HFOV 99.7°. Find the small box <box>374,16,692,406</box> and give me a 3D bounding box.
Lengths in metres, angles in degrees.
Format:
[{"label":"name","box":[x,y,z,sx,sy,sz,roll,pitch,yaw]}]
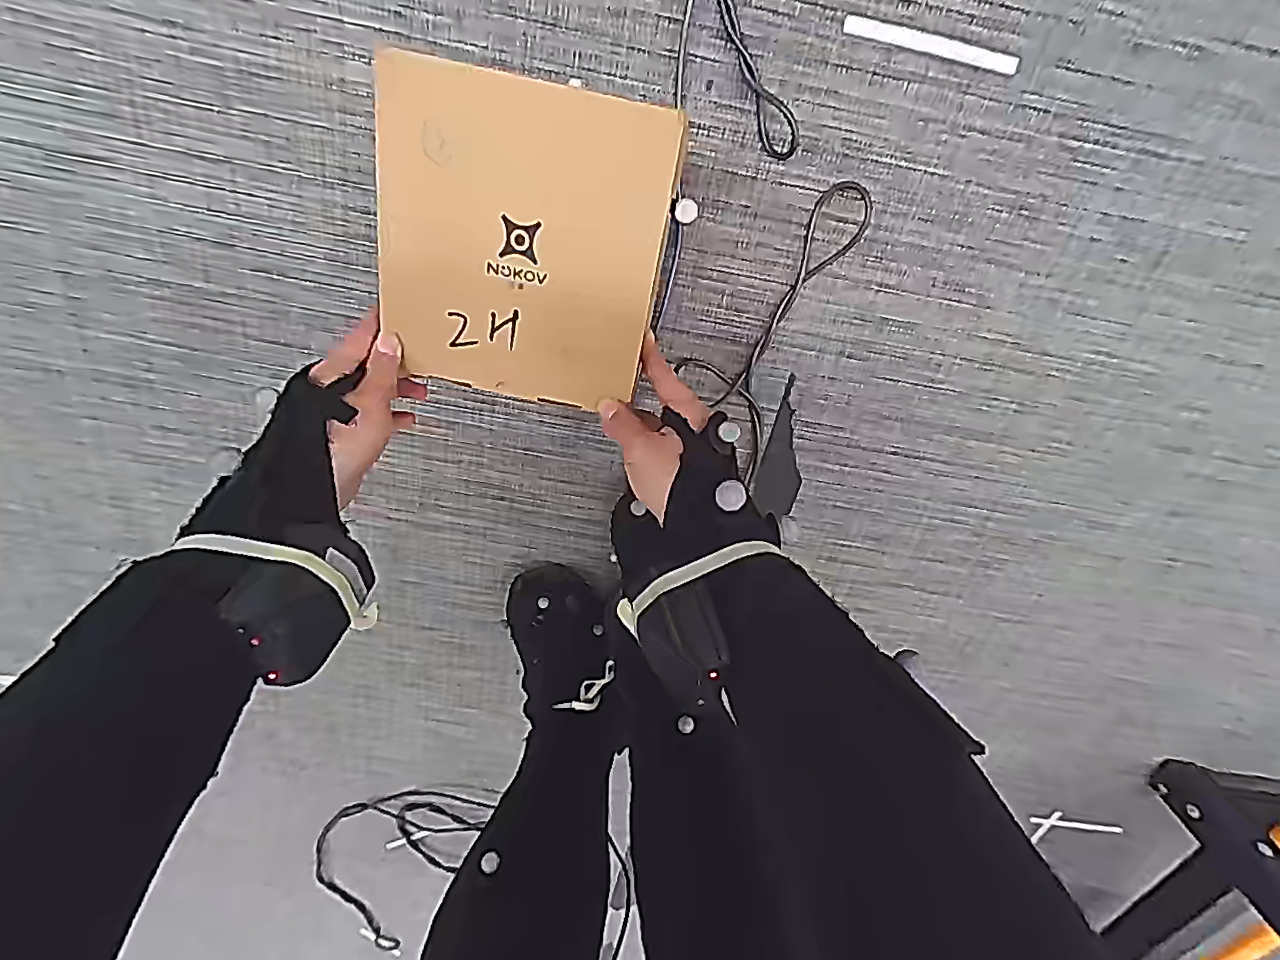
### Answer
[{"label":"small box","box":[-0.065,-0.174,0.381,0.168,0.176,0.179,12,117,-1]}]
